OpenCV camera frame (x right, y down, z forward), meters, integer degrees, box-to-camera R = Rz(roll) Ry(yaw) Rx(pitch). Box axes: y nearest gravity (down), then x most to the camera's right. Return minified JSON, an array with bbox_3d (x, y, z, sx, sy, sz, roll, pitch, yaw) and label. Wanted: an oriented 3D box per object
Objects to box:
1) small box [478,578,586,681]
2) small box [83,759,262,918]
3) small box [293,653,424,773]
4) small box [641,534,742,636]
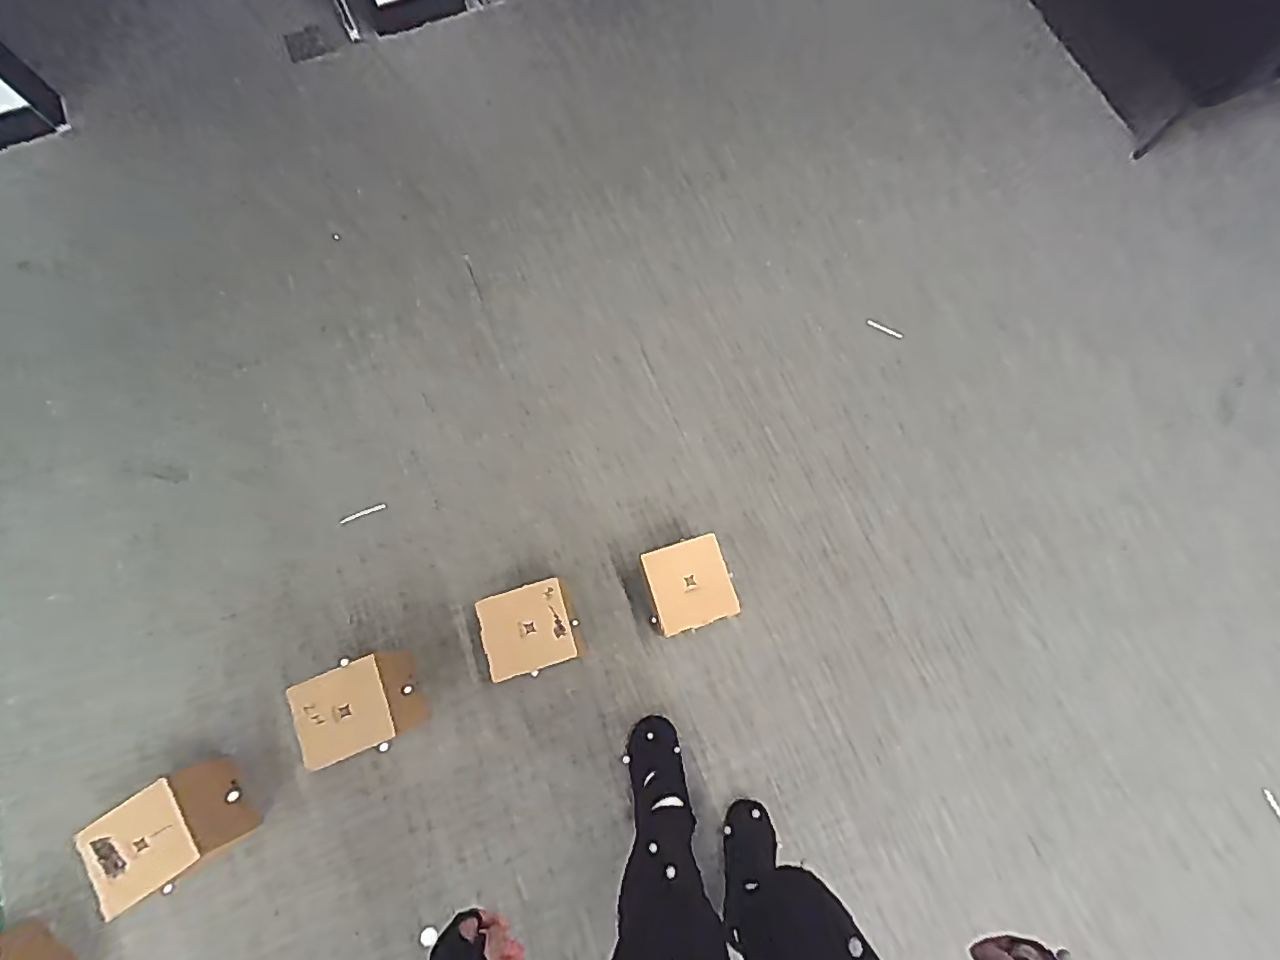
[{"bbox_3d":[-0.226,0.320,1.163,0.179,0.176,0.168,-16,76,-5],"label":"small box"},{"bbox_3d":[-0.897,0.682,1.054,0.179,0.176,0.168,-34,78,-10],"label":"small box"},{"bbox_3d":[-0.567,0.467,1.117,0.179,0.176,0.168,-21,76,-7],"label":"small box"},{"bbox_3d":[0.104,0.235,1.194,0.168,0.176,0.179,-17,77,-6],"label":"small box"}]
